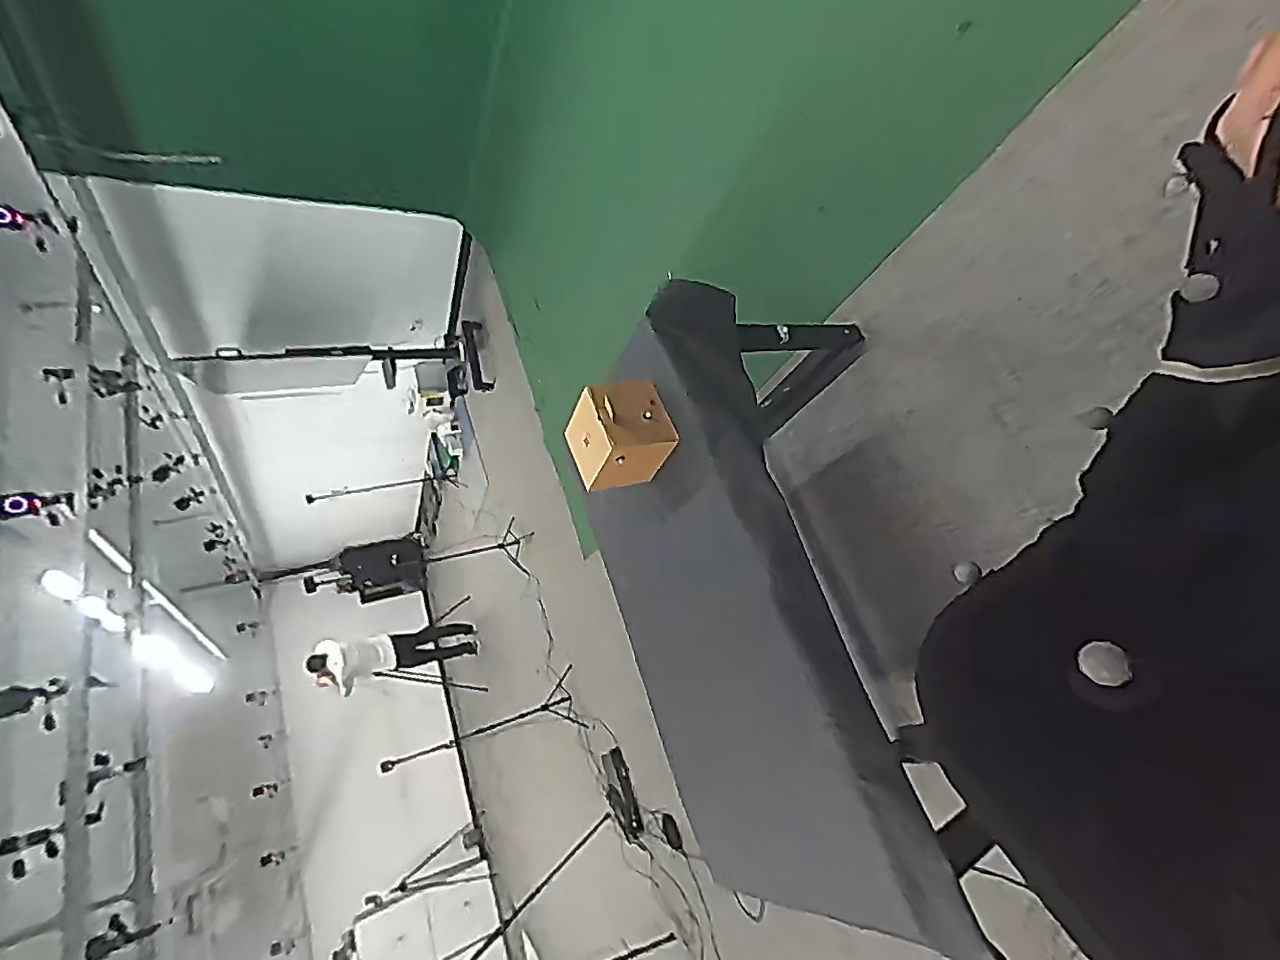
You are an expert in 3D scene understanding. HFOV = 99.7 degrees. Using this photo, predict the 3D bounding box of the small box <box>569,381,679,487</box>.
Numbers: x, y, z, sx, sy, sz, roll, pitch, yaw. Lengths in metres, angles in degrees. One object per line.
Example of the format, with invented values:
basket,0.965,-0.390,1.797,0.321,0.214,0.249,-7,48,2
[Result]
small box,-0.038,-0.104,1.215,0.168,0.176,0.179,66,147,23
